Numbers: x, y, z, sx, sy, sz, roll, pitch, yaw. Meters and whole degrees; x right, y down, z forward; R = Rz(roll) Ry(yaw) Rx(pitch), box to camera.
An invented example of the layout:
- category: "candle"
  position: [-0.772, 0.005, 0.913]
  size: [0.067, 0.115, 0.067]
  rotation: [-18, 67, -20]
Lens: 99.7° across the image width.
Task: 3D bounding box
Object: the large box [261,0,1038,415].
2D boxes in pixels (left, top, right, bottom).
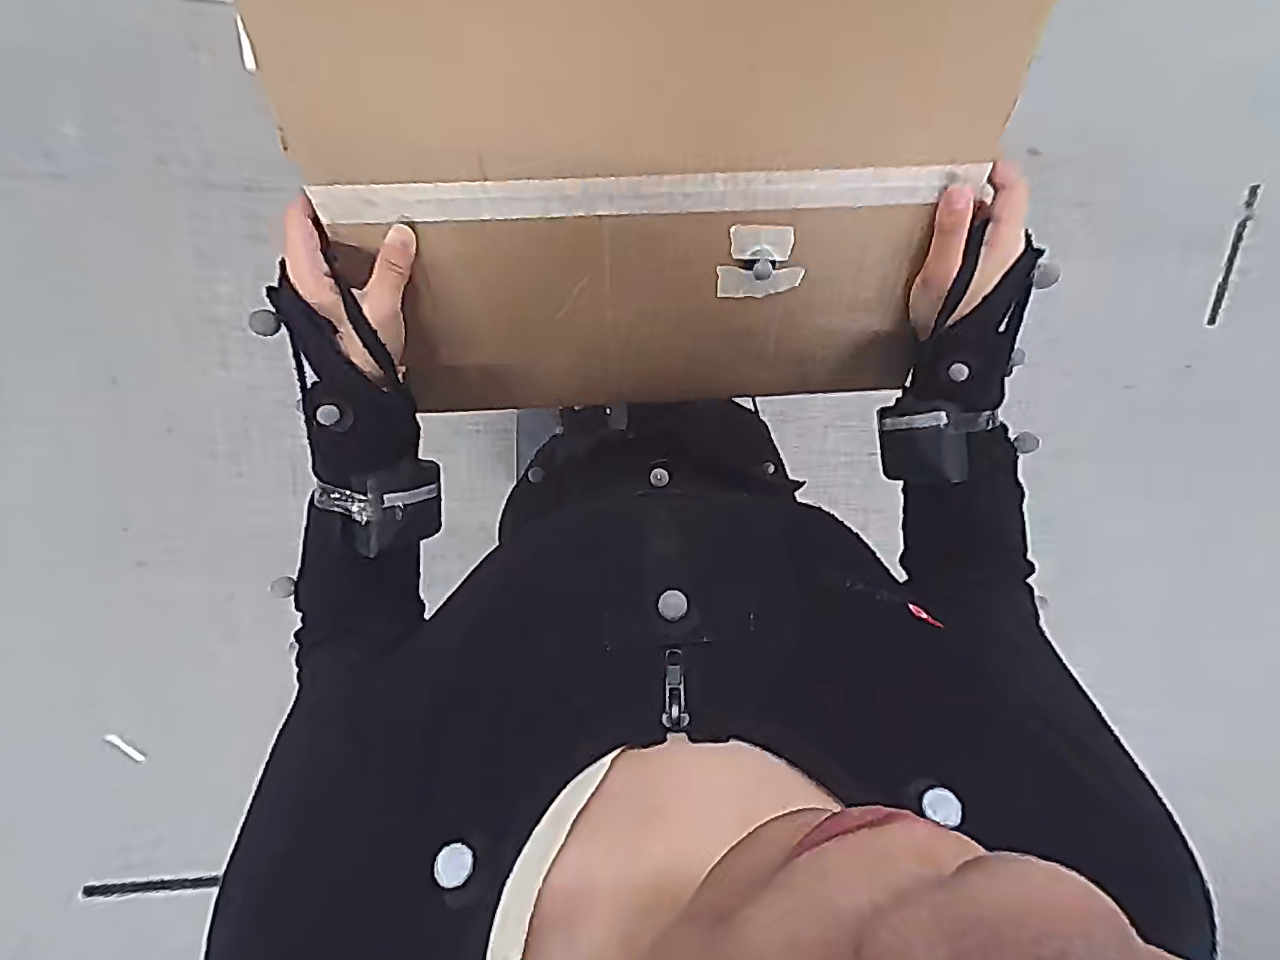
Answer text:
- category: "large box"
  position: [-0.001, -0.280, 0.445]
  size: [0.408, 0.320, 0.320]
  rotation: [-4, 136, -4]
